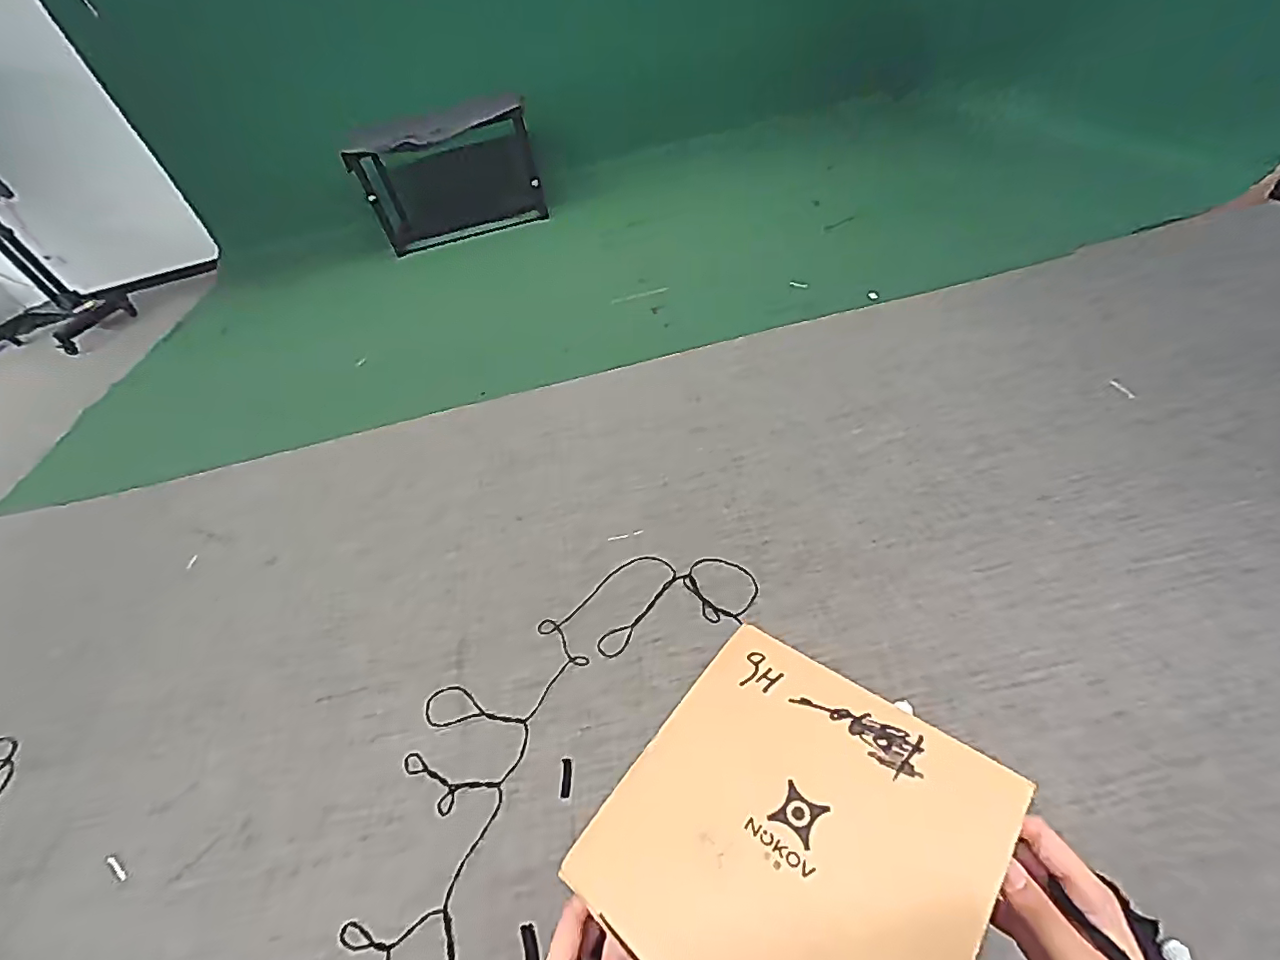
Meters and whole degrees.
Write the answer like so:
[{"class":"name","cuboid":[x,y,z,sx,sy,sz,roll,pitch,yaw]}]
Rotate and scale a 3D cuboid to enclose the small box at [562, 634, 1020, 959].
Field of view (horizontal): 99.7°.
[{"class":"small box","cuboid":[0.090,0.237,0.323,0.168,0.176,0.179,24,55,37]}]
